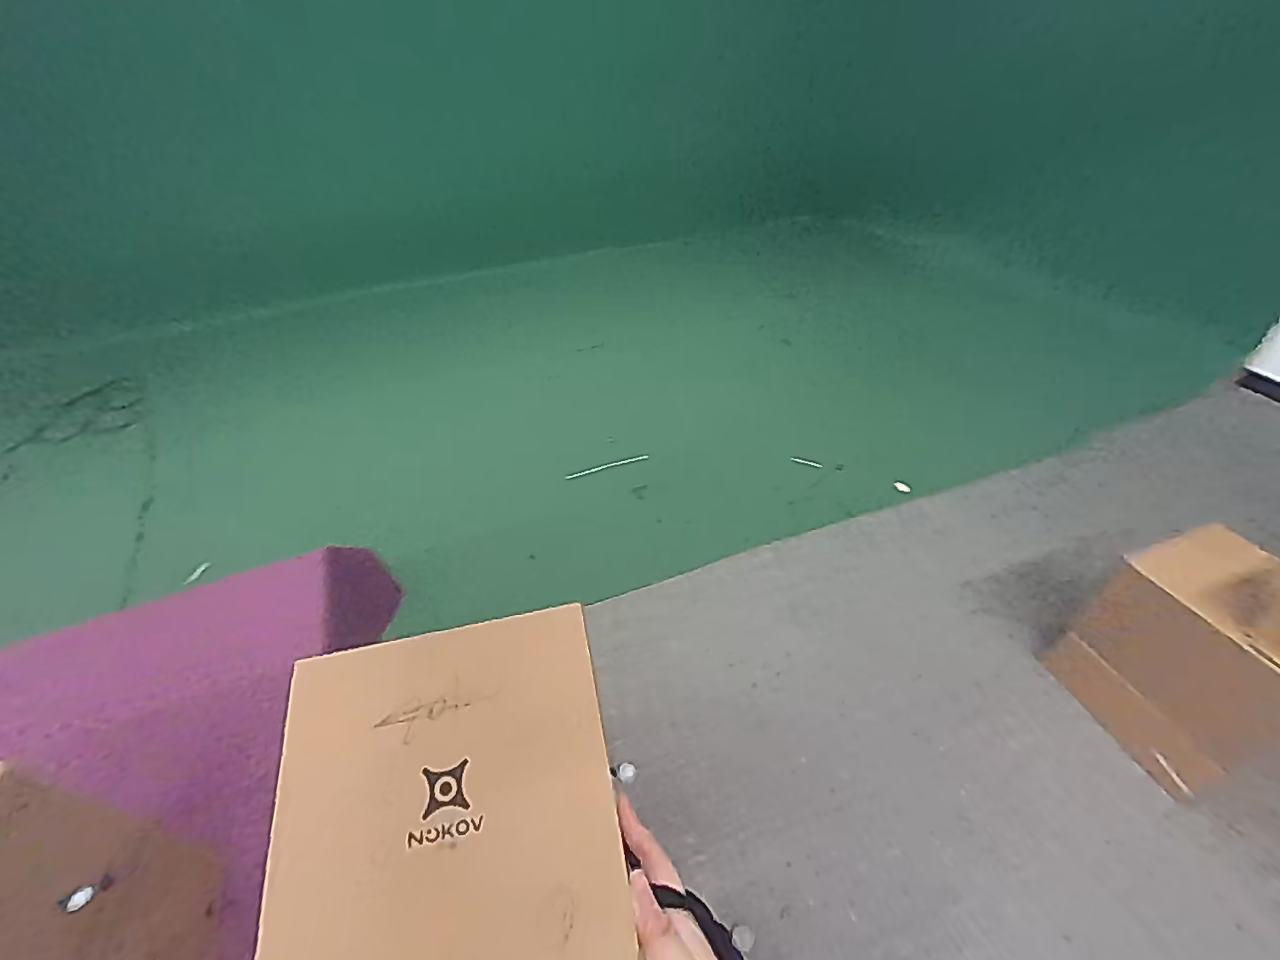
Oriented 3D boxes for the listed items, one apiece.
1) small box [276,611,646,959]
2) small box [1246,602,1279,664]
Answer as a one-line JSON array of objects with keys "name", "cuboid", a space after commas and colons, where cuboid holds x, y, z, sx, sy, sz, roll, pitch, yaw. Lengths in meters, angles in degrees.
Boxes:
[{"name": "small box", "cuboid": [-0.089, 0.204, 0.341, 0.168, 0.176, 0.179, -8, 57, -7]}, {"name": "small box", "cuboid": [1.341, 0.287, 1.025, 0.179, 0.176, 0.168, -15, 43, -11]}]
